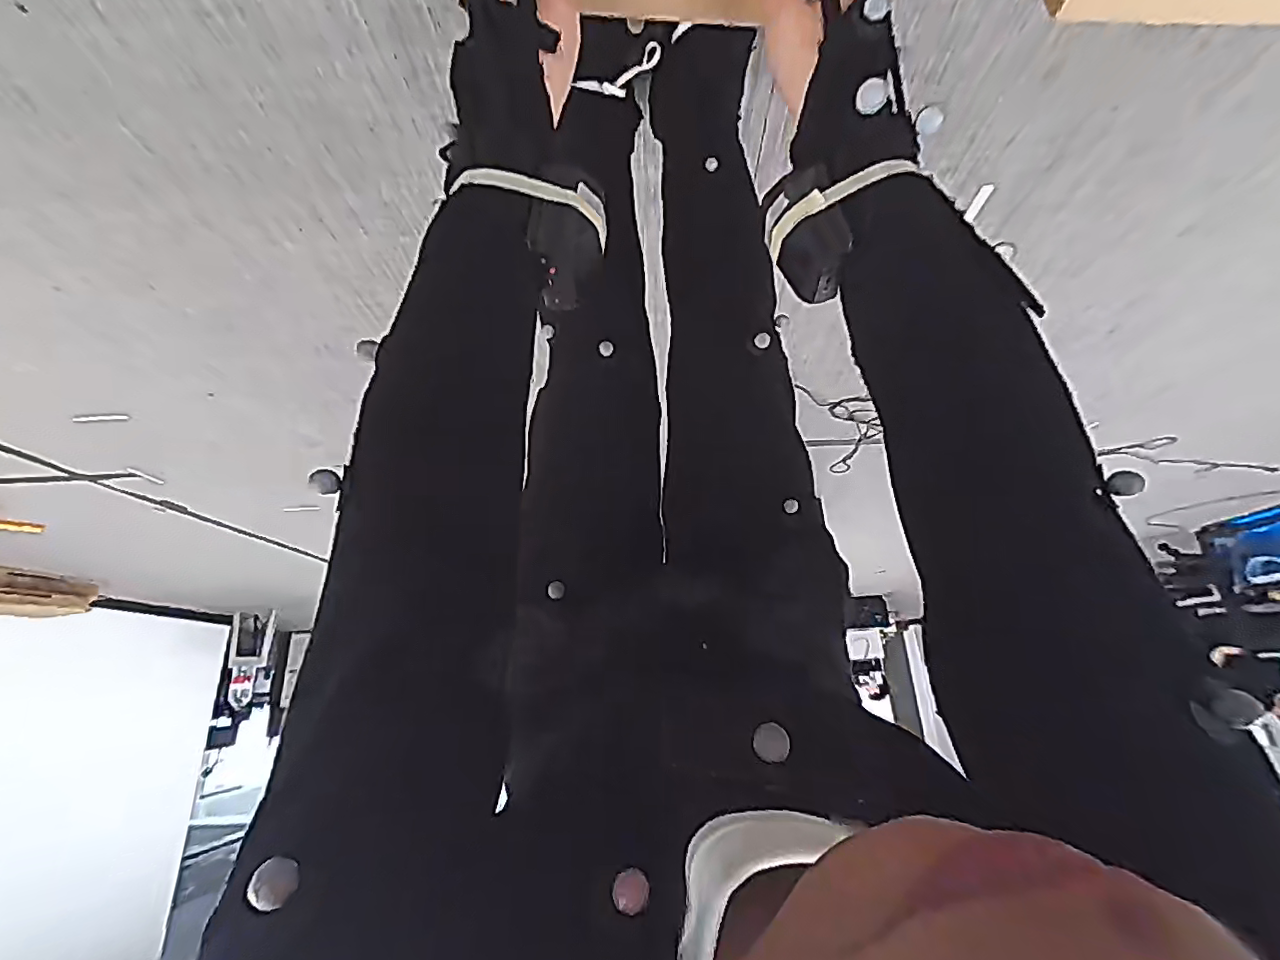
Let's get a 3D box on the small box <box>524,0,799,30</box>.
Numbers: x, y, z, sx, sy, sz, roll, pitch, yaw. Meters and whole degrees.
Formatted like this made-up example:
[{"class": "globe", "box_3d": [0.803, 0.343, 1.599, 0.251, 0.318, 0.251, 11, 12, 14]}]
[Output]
[{"class": "small box", "box_3d": [0.015, -0.404, 0.328, 0.179, 0.176, 0.168, 0, 141, -5]}]
